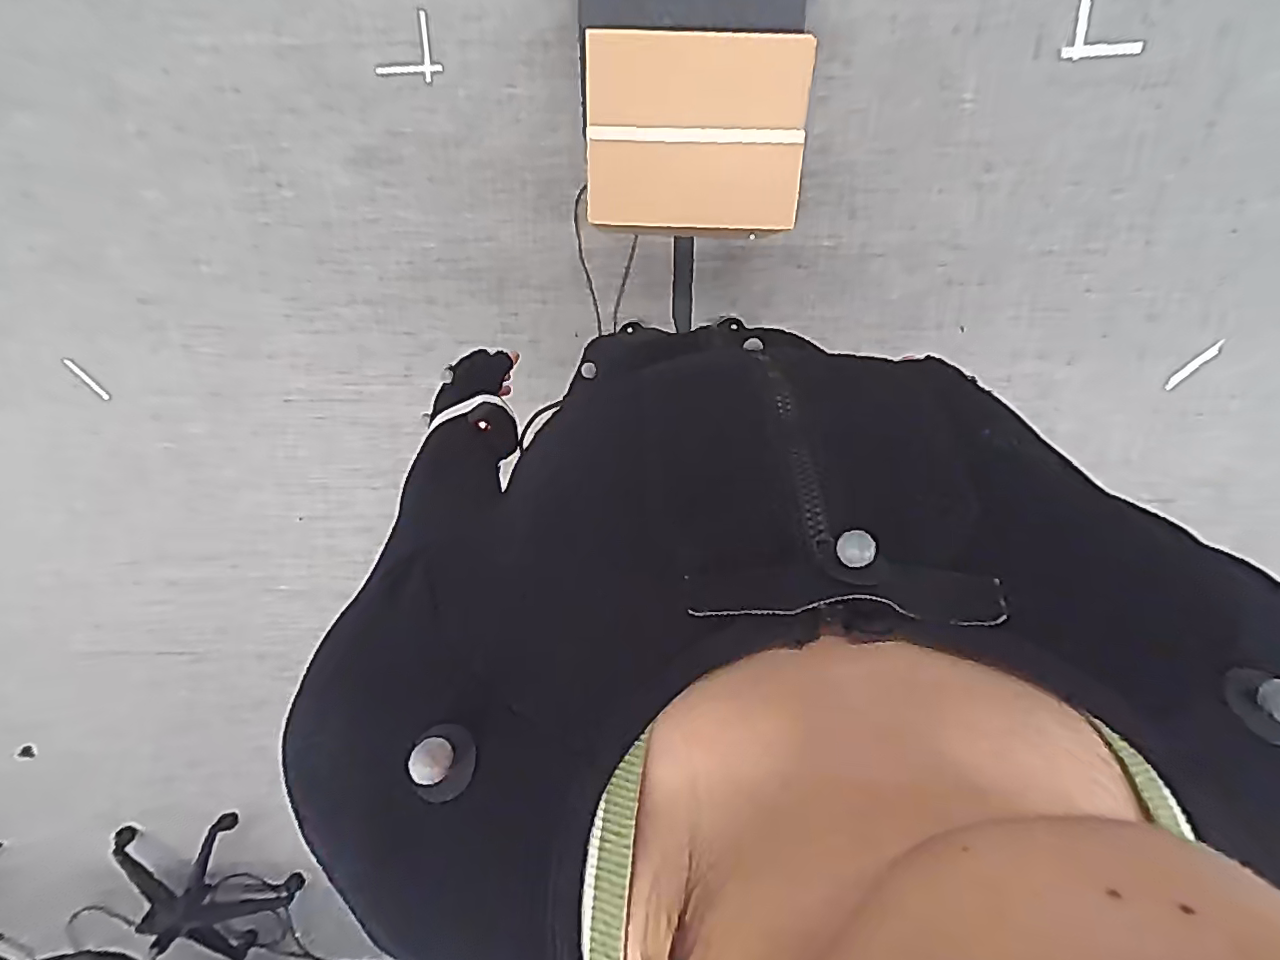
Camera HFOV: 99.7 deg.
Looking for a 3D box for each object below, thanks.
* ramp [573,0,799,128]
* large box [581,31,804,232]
[{"bbox_3d":[0.100,-1.265,1.042,0.509,0.206,0.991,-2,107,0],"label":"ramp"},{"bbox_3d":[0.094,-0.700,1.144,0.408,0.320,0.320,2,111,0],"label":"large box"}]
